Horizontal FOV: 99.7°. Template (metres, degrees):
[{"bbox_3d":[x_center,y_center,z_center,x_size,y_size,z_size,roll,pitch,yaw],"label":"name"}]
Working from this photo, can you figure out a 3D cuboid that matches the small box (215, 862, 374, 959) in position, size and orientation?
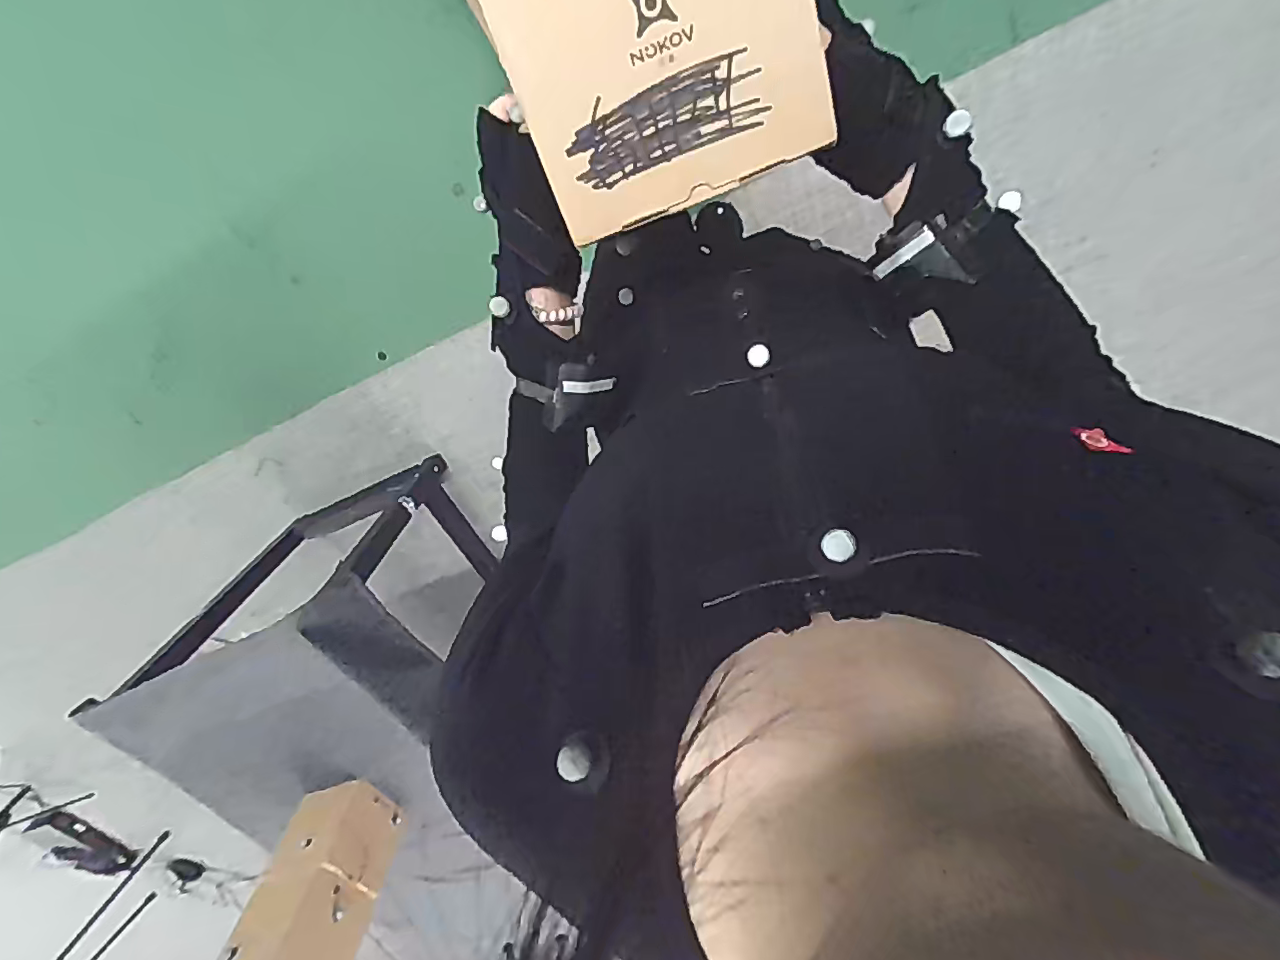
[{"bbox_3d":[-0.658,0.875,1.040,0.179,0.176,0.168,-24,117,15],"label":"small box"}]

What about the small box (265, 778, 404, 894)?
[{"bbox_3d":[-0.644,0.777,1.172,0.179,0.176,0.168,-22,117,16],"label":"small box"}]
